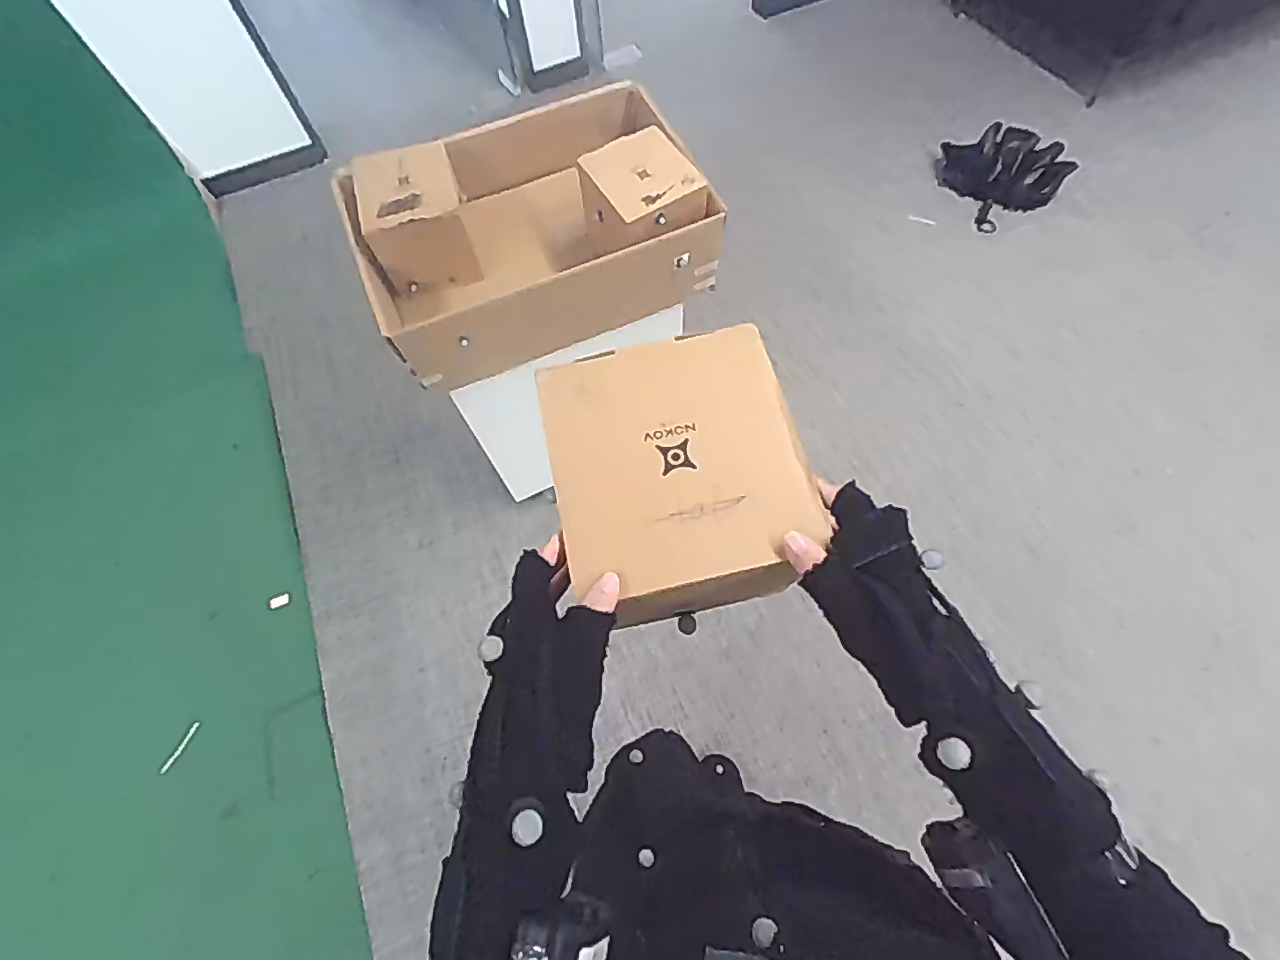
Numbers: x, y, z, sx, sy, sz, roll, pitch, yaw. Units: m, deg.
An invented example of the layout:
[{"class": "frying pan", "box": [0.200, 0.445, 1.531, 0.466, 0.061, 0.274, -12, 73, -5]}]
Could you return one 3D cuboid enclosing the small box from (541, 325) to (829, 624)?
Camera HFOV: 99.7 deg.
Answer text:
[{"class": "small box", "box": [0.026, 0.008, 0.441, 0.168, 0.176, 0.179, -13, 70, -2]}]
